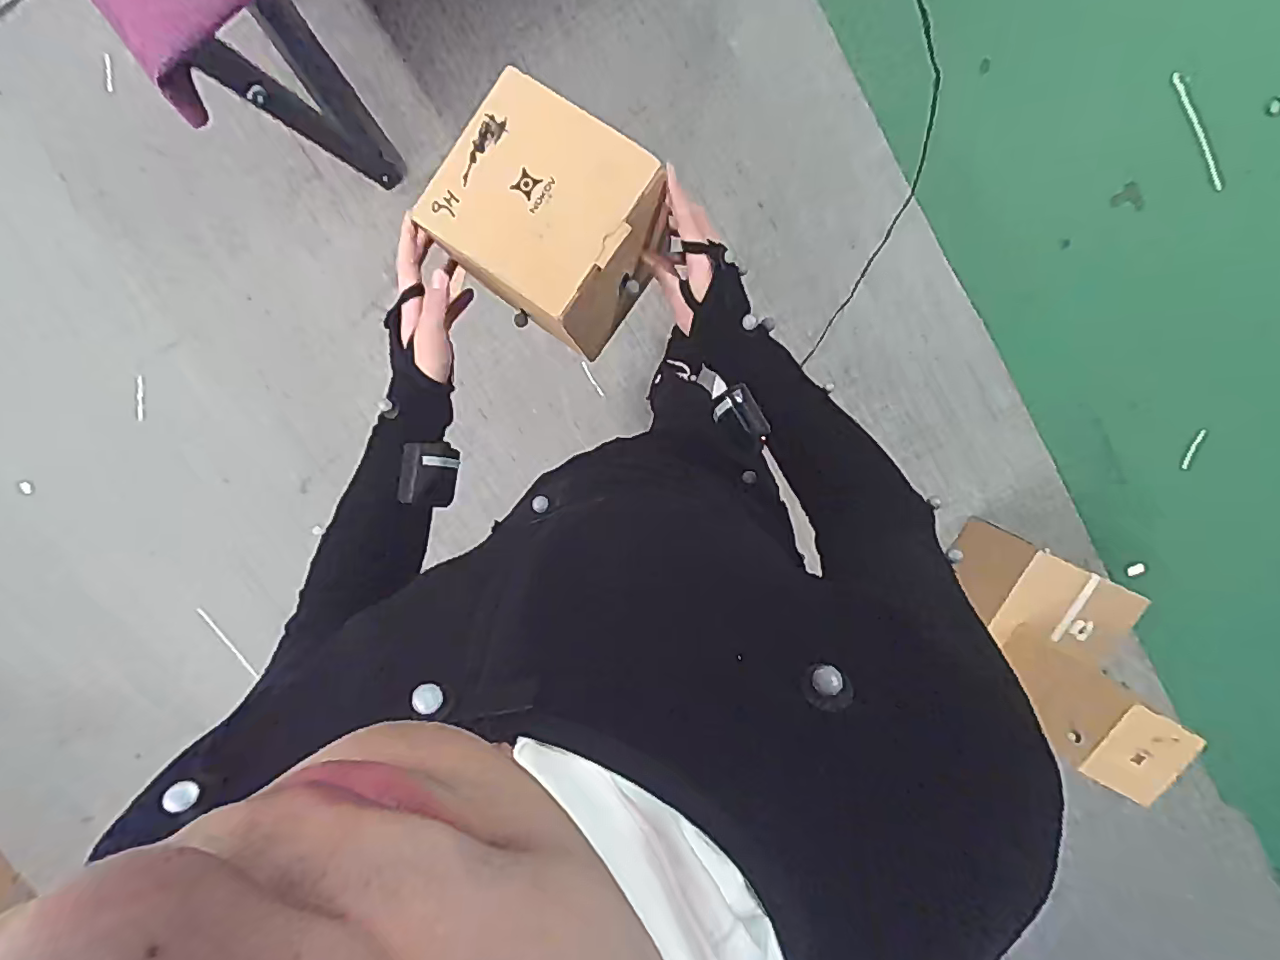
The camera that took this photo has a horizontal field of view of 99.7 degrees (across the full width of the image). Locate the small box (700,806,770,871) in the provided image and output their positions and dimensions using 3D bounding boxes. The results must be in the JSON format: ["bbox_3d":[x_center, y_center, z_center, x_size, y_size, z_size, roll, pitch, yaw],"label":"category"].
[{"bbox_3d":[0.255,1.002,1.422,0.168,0.176,0.179,-11,99,5],"label":"small box"}]

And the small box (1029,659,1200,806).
[{"bbox_3d":[0.957,0.511,1.115,0.168,0.176,0.179,29,101,-3],"label":"small box"}]

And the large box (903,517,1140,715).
[{"bbox_3d":[1.019,0.372,1.503,0.320,0.320,0.408,24,101,-3],"label":"large box"}]

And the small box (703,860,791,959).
[{"bbox_3d":[0.246,1.025,1.261,0.168,0.176,0.179,-13,100,6],"label":"small box"}]
